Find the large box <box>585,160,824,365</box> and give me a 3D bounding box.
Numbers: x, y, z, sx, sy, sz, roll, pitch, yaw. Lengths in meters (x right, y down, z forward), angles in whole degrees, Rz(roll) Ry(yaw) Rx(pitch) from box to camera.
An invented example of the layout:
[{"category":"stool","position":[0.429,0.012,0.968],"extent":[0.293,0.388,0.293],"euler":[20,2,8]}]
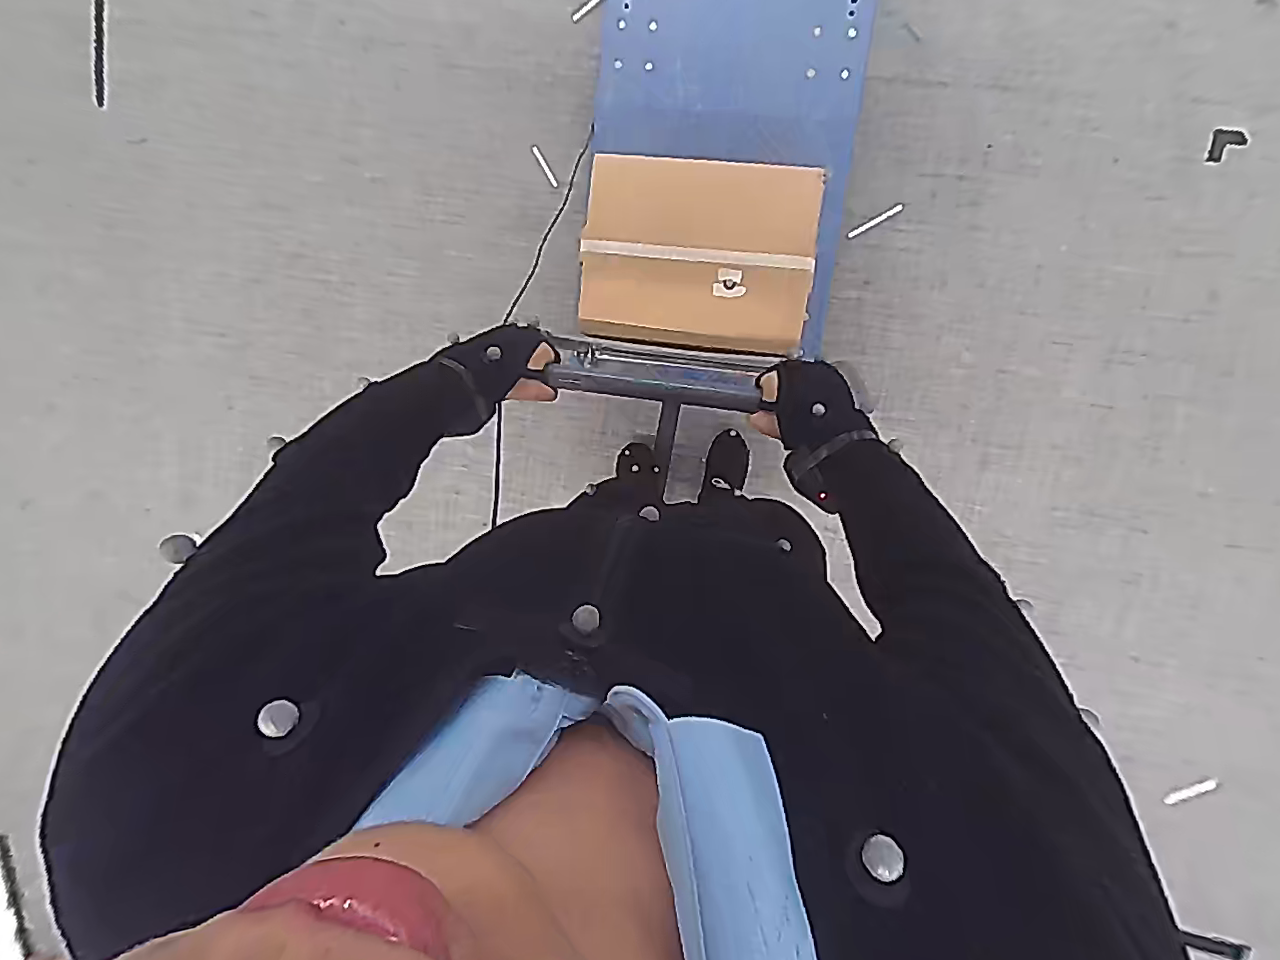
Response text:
[{"category":"large box","position":[0.123,-0.421,1.118],"extent":[0.408,0.320,0.320],"euler":[8,99,6]}]
